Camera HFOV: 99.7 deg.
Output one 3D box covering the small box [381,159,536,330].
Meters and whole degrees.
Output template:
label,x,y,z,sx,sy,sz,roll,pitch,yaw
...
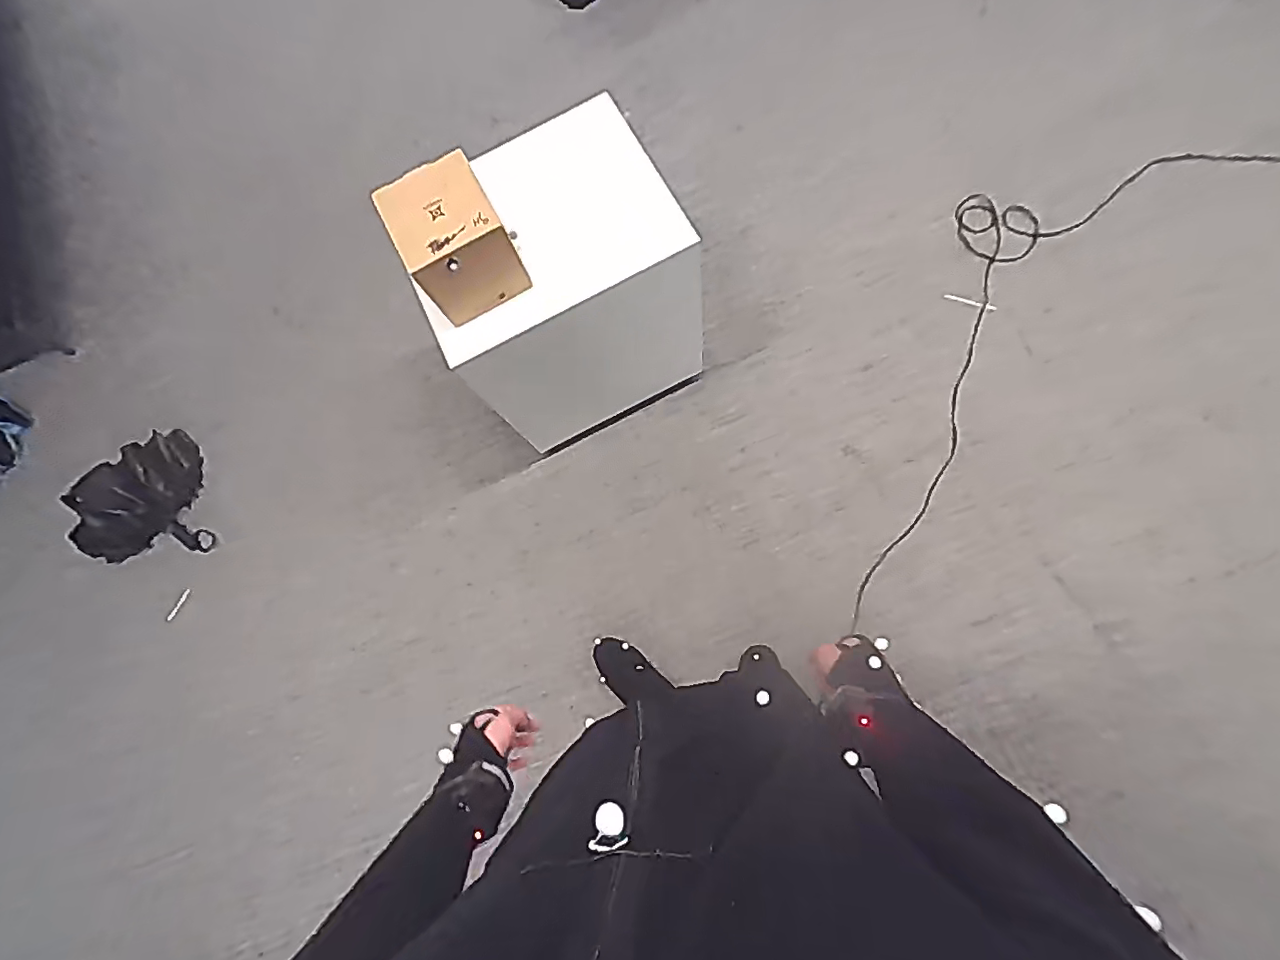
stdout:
label,x,y,z,sx,sy,sz,roll,pitch,yaw
small box,-0.306,-0.399,0.938,0.168,0.176,0.179,-29,74,0
